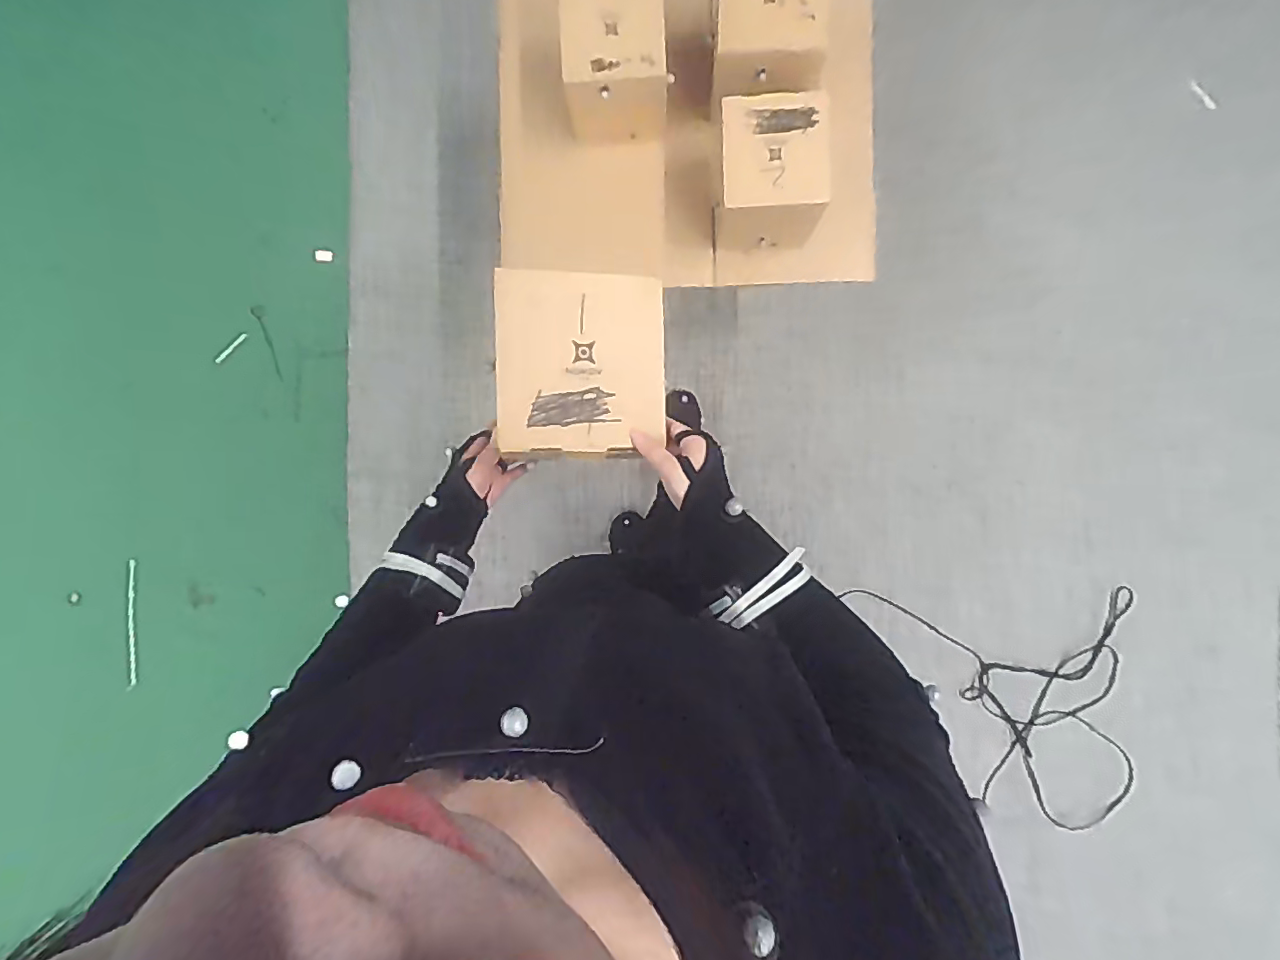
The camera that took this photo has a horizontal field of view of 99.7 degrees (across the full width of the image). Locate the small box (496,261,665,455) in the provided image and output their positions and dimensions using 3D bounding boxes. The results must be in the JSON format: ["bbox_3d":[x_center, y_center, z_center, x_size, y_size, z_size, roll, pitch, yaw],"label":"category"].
[{"bbox_3d":[-0.070,-0.120,0.603,0.168,0.176,0.179,-1,88,-11],"label":"small box"}]

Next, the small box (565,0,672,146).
[{"bbox_3d":[-0.031,-0.711,0.923,0.168,0.176,0.179,-2,89,5],"label":"small box"}]
